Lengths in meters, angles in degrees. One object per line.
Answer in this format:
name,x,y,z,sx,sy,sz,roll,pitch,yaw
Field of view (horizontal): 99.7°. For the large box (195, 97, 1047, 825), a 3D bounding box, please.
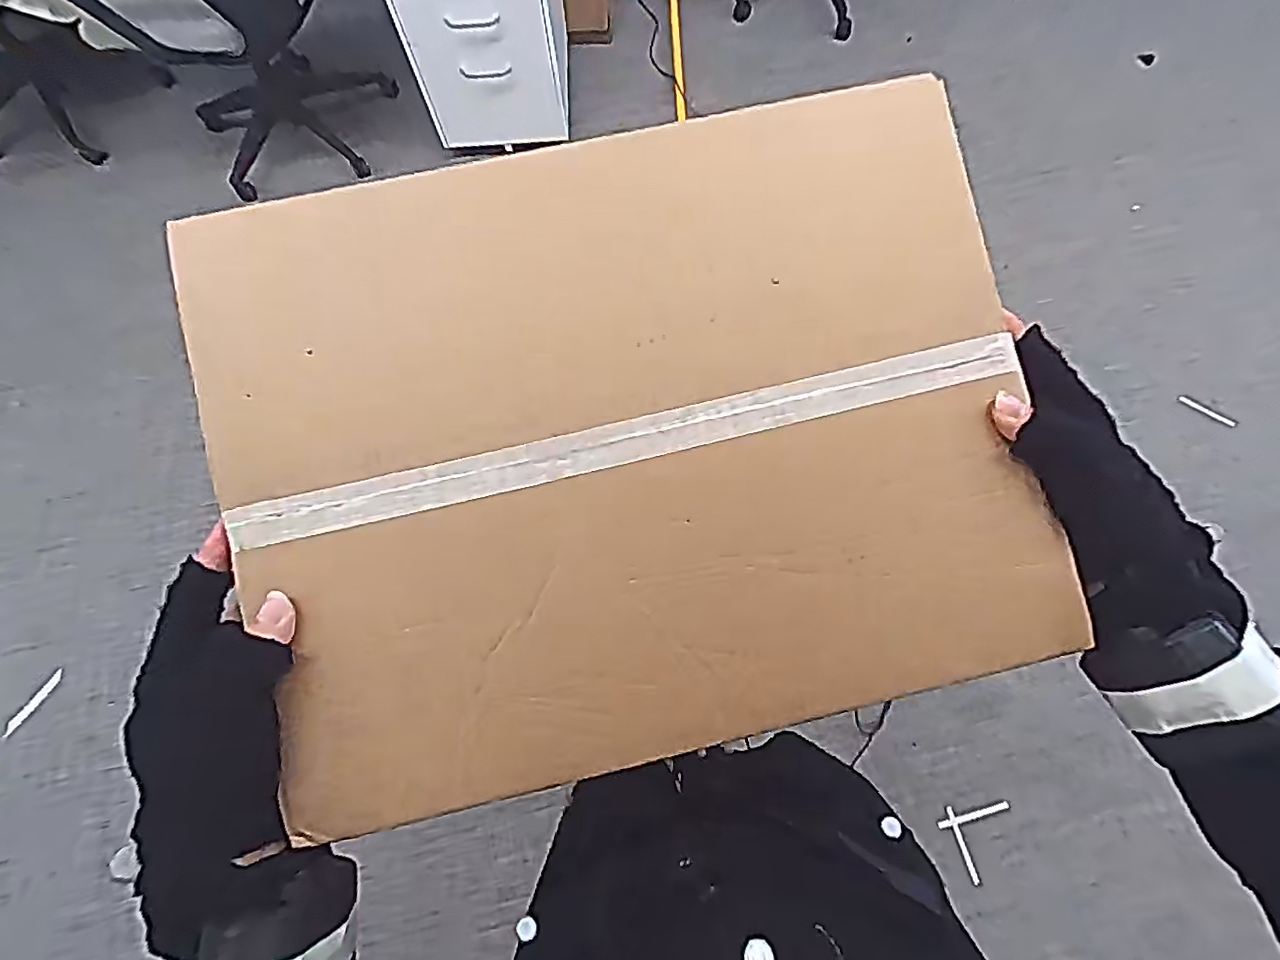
large box,-0.010,-0.014,0.433,0.408,0.320,0.320,-13,87,-3
